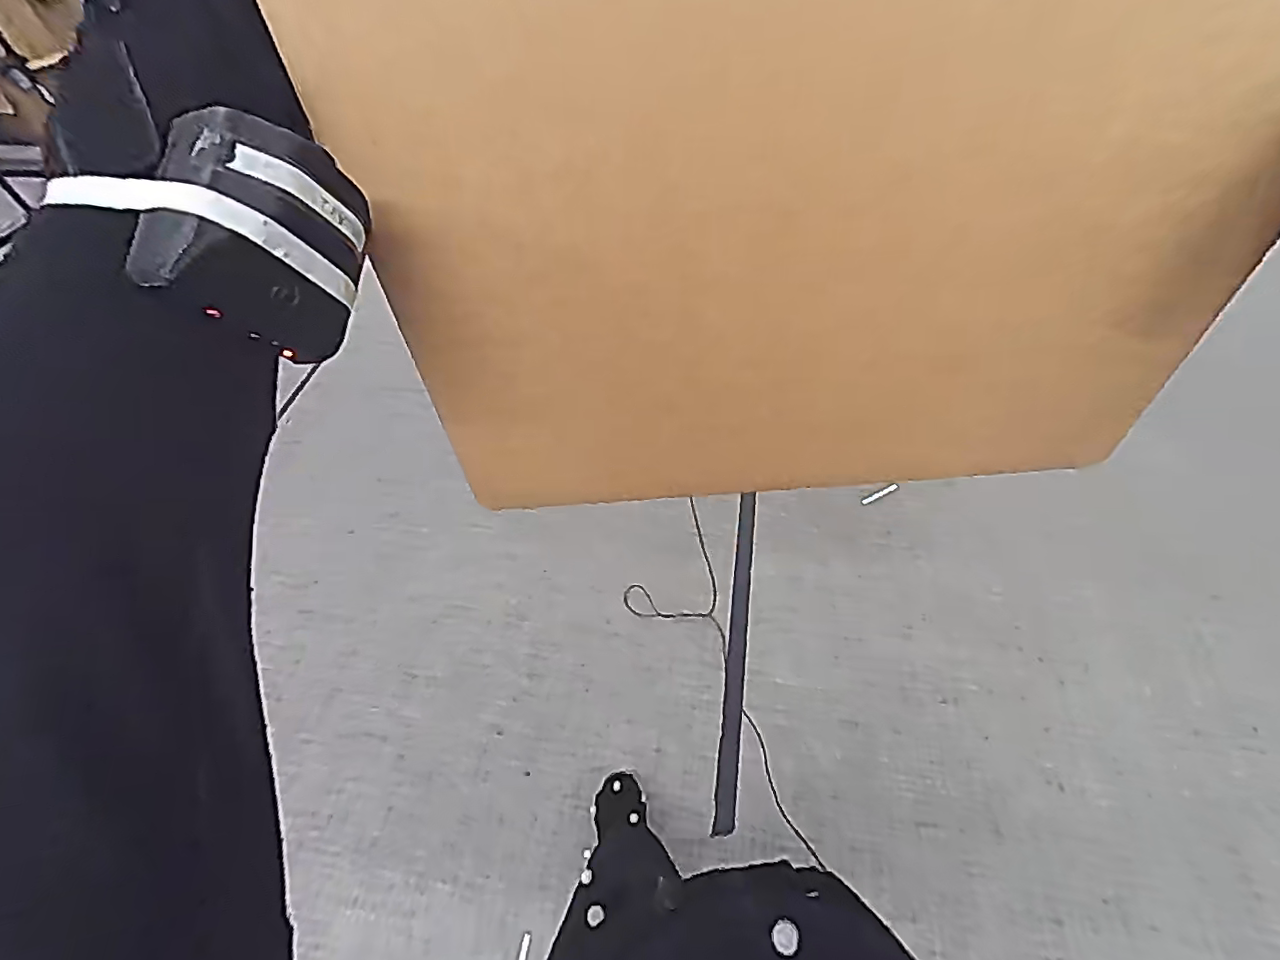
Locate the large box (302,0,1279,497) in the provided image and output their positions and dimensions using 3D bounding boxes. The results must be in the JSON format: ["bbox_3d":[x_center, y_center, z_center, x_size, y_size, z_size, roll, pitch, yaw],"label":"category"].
[{"bbox_3d":[0.075,-0.213,0.359,0.408,0.320,0.320,-4,46,0],"label":"large box"}]
